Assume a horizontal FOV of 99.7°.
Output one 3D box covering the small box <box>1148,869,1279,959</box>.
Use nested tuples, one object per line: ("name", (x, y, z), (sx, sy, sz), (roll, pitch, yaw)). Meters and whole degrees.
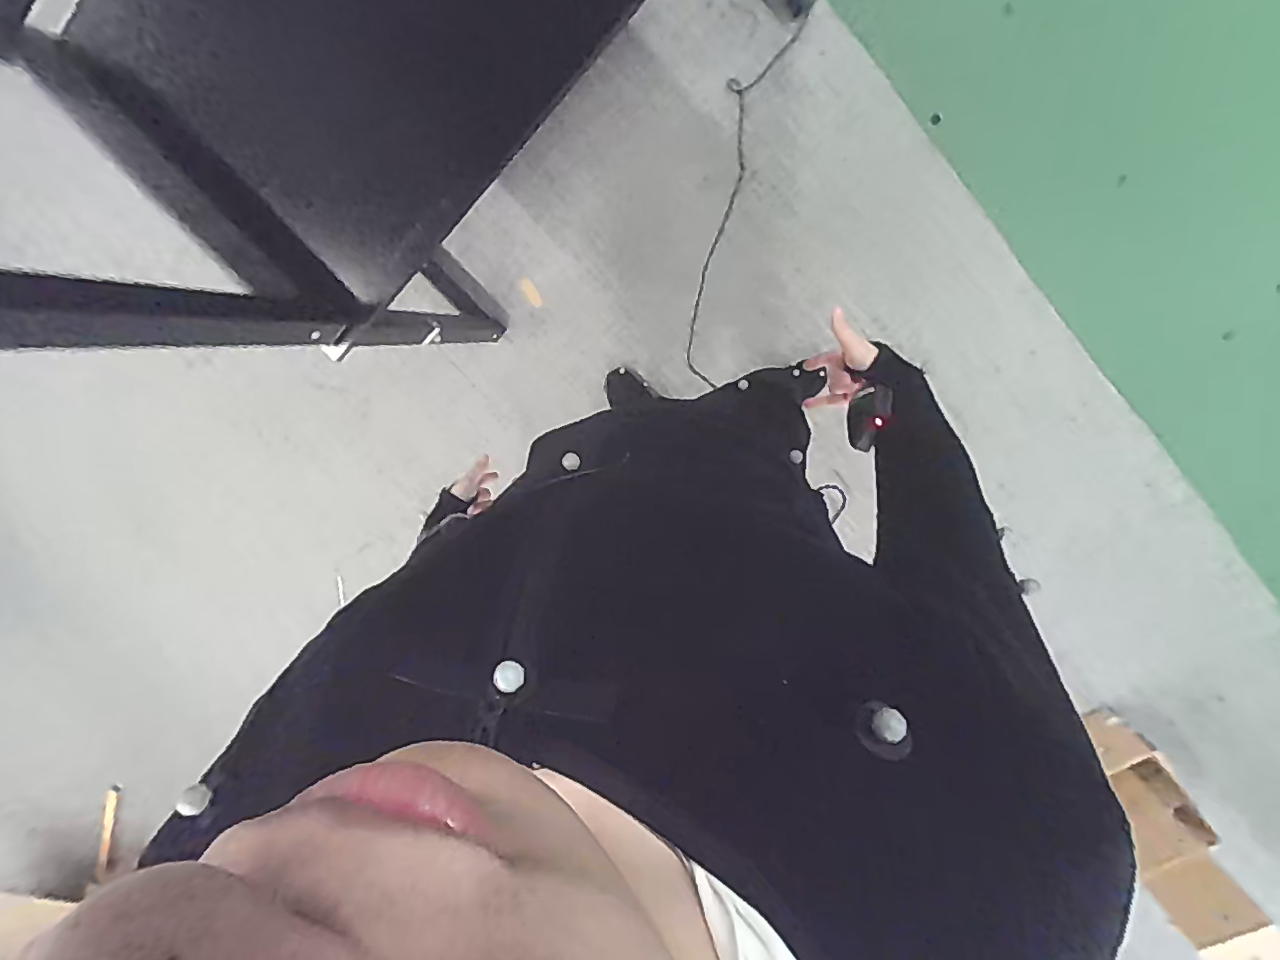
("small box", (1.383, 1.075, 1.279), (0.179, 0.176, 0.168), (-38, 98, 14))
